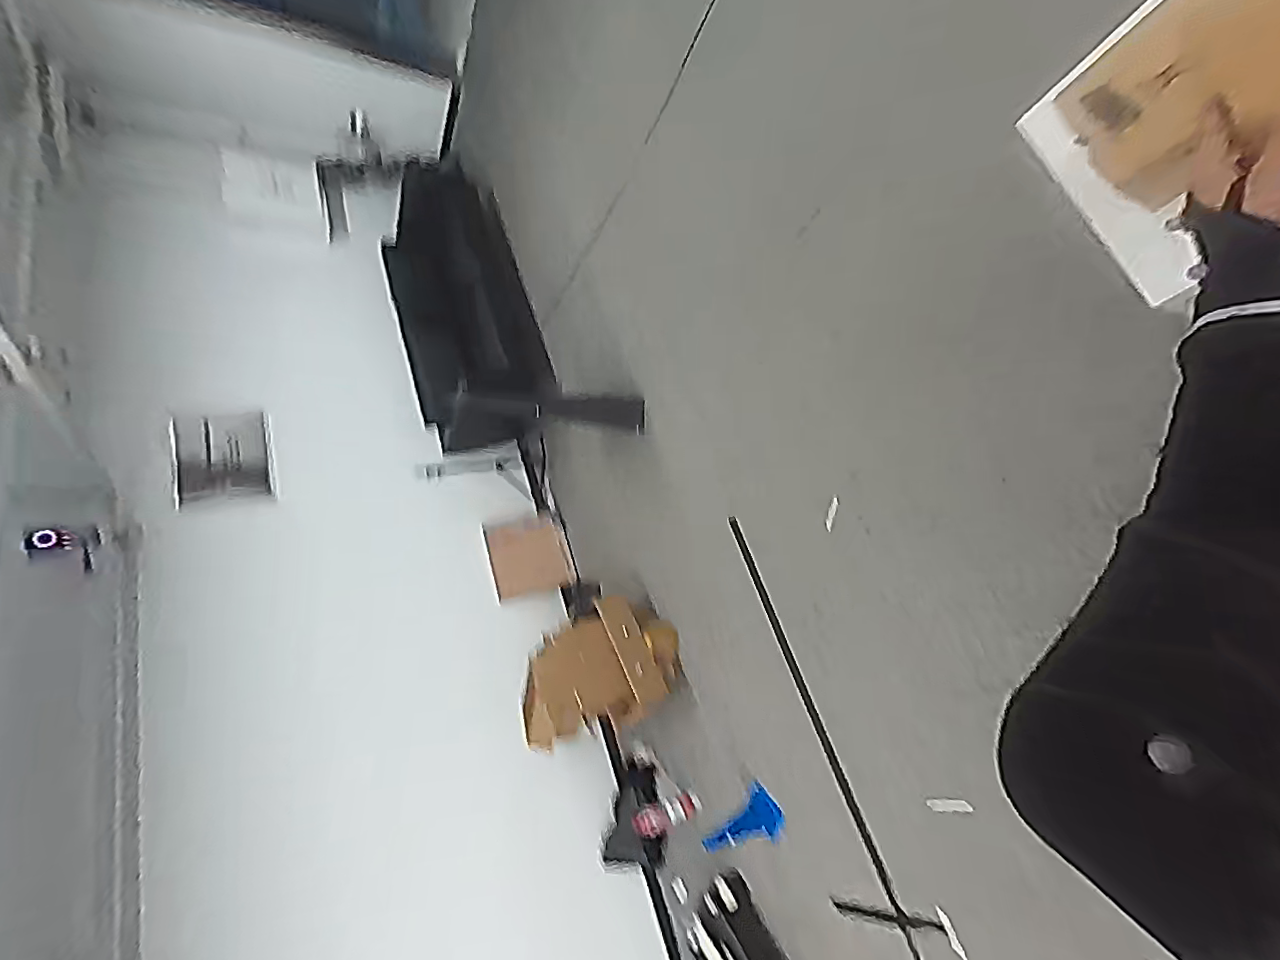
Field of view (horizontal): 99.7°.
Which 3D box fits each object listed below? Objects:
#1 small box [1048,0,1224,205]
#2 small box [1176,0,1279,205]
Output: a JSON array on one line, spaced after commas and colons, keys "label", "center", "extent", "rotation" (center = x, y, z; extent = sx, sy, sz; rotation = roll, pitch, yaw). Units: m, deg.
[{"label": "small box", "center": [0.694, -0.491, 0.701], "extent": [0.179, 0.176, 0.168], "rotation": [-41, 62, 51]}, {"label": "small box", "center": [0.587, -0.358, 0.445], "extent": [0.168, 0.176, 0.179], "rotation": [-26, 90, 48]}]
